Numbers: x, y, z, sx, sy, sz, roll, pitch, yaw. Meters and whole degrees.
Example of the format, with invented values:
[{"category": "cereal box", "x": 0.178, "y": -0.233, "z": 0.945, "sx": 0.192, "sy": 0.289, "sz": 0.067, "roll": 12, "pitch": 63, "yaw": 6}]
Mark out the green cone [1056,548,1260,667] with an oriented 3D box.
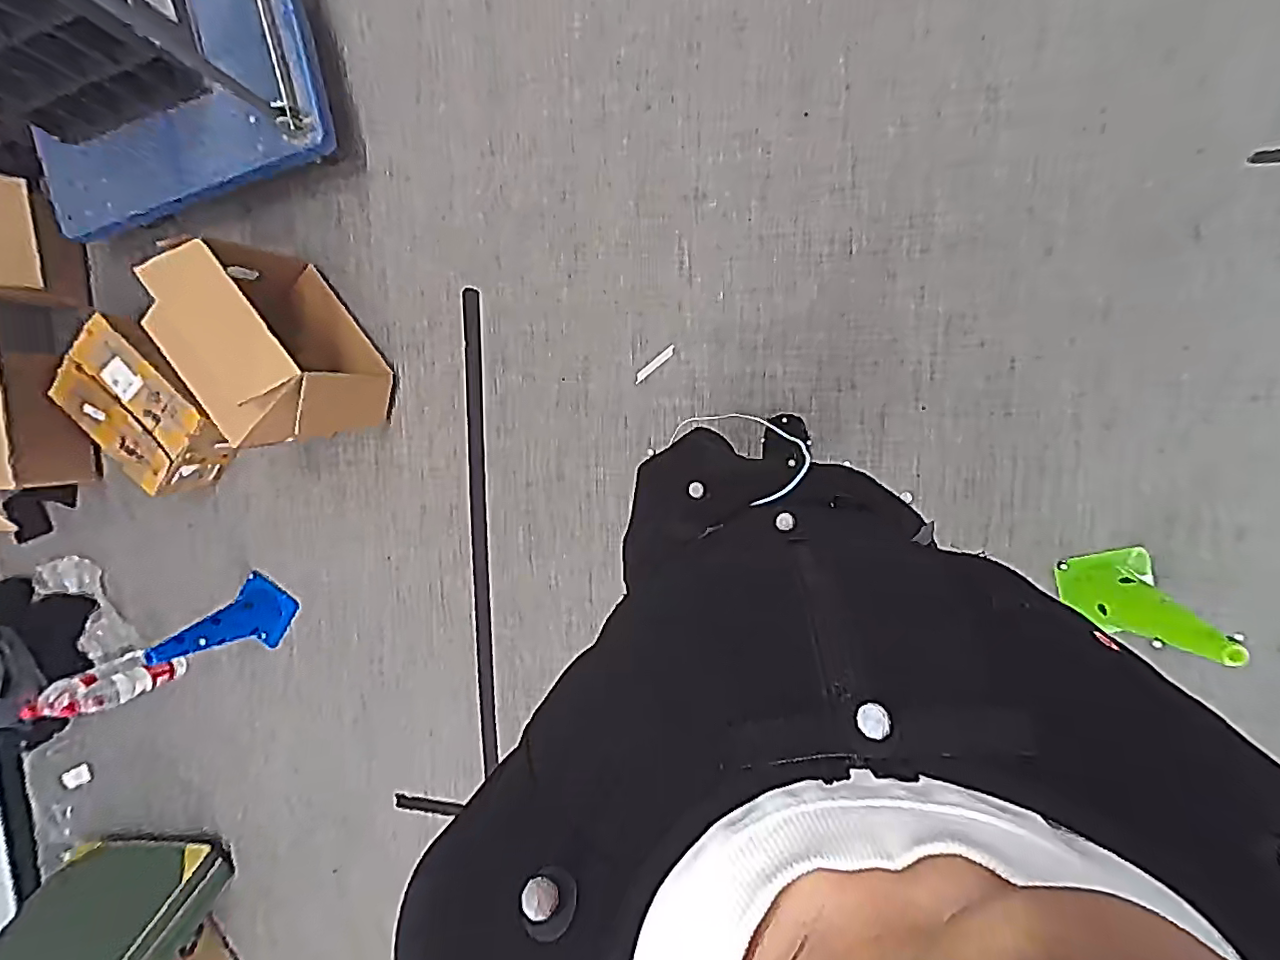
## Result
[{"category": "green cone", "x": 1.093, "y": 0.295, "z": 1.127, "sx": 0.202, "sy": 0.368, "sz": 0.200, "roll": -15, "pitch": 95, "yaw": 11}]
